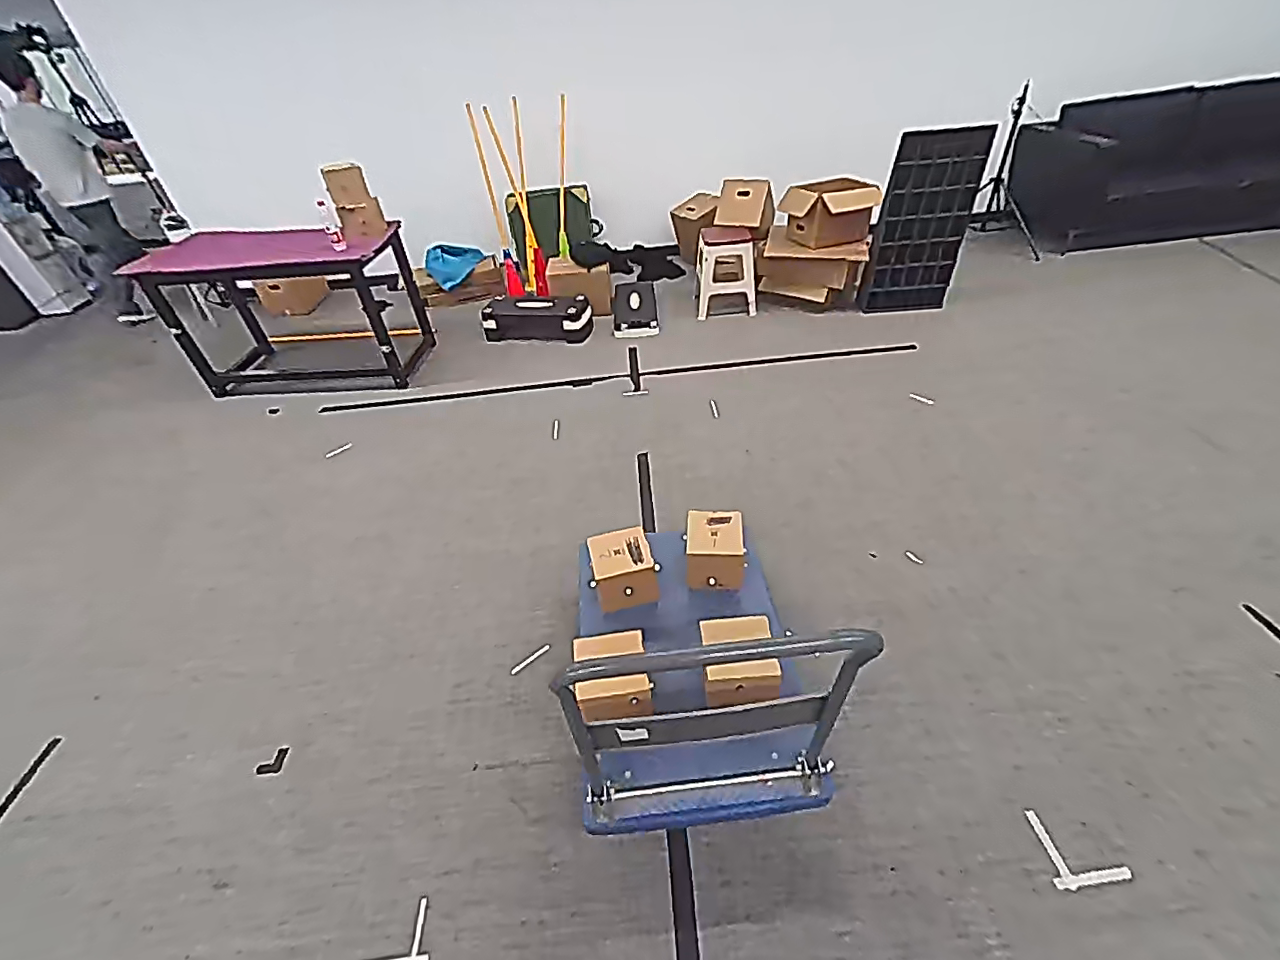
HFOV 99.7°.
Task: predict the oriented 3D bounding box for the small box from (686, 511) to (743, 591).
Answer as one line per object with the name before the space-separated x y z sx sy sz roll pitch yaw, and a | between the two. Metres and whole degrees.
small box | 0.226 0.217 1.660 0.168 0.176 0.179 0 42 7

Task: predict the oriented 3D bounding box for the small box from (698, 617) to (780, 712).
small box | 0.246 0.469 1.369 0.179 0.176 0.168 -5 41 1

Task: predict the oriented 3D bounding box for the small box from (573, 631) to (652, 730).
small box | -0.068 0.508 1.362 0.179 0.176 0.168 -7 41 -4
